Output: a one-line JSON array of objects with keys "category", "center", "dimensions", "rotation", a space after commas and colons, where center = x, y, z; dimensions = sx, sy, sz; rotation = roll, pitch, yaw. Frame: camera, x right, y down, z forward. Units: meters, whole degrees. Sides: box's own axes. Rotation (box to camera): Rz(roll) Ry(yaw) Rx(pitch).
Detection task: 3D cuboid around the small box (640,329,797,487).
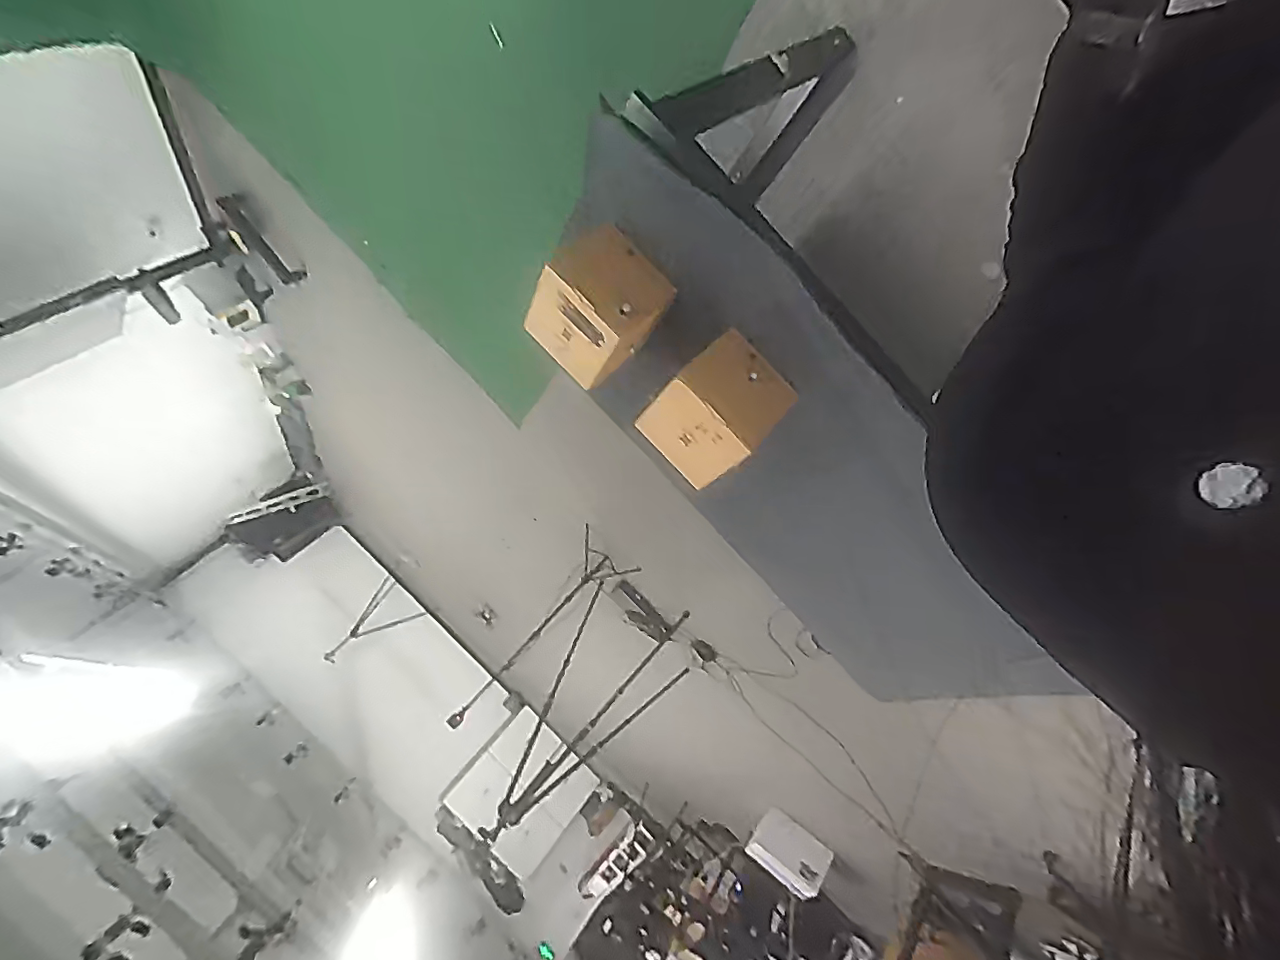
[{"category": "small box", "center": [0.135, -0.122, 0.931], "dimensions": [0.168, 0.176, 0.179], "rotation": [45, 149, -2]}]
